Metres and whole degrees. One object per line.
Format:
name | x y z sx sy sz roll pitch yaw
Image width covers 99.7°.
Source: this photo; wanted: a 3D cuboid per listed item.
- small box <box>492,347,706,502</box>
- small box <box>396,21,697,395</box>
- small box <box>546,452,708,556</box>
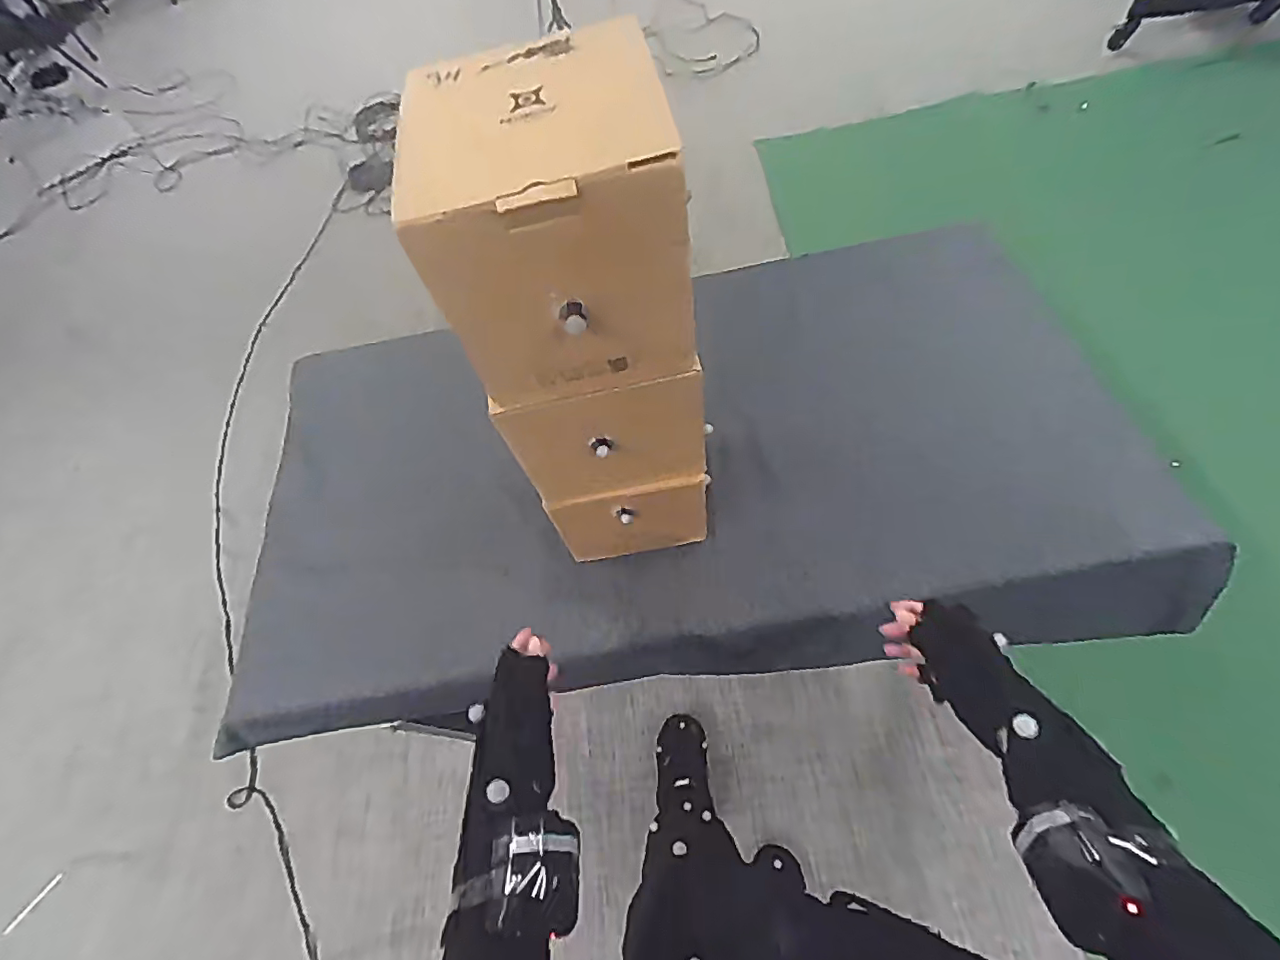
small box | -0.035 -0.096 0.537 0.179 0.176 0.168 -12 61 3
small box | -0.055 -0.181 0.399 0.168 0.176 0.179 -11 62 2
small box | -0.014 -0.016 0.679 0.179 0.176 0.168 -10 62 1
